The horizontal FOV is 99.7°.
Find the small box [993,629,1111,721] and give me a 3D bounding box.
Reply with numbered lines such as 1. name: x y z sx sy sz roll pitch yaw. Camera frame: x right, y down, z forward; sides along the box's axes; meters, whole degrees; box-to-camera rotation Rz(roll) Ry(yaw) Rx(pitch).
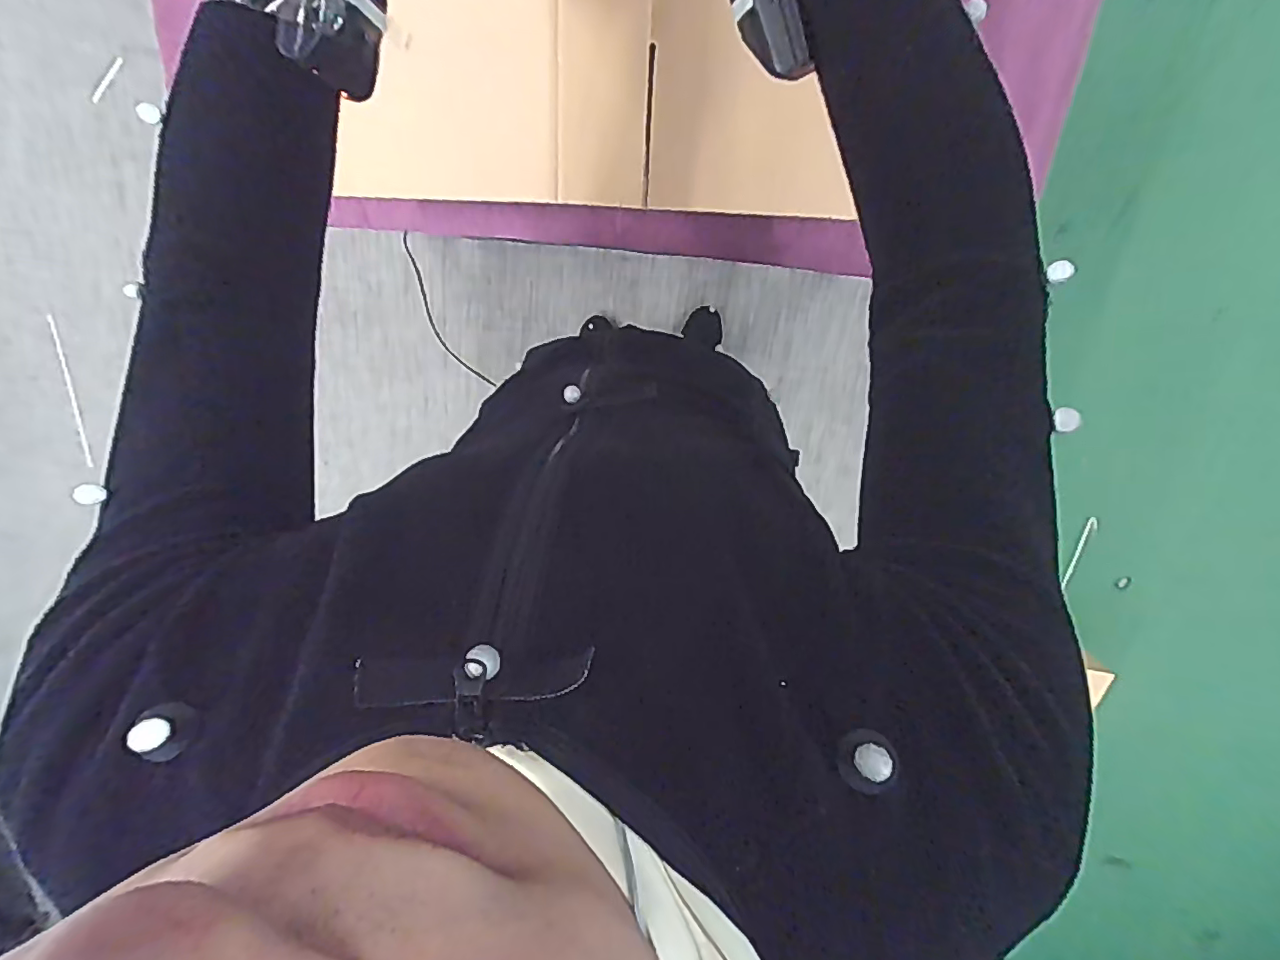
1. small box: 1.164 0.551 1.543 0.179 0.176 0.168 12 110 0
